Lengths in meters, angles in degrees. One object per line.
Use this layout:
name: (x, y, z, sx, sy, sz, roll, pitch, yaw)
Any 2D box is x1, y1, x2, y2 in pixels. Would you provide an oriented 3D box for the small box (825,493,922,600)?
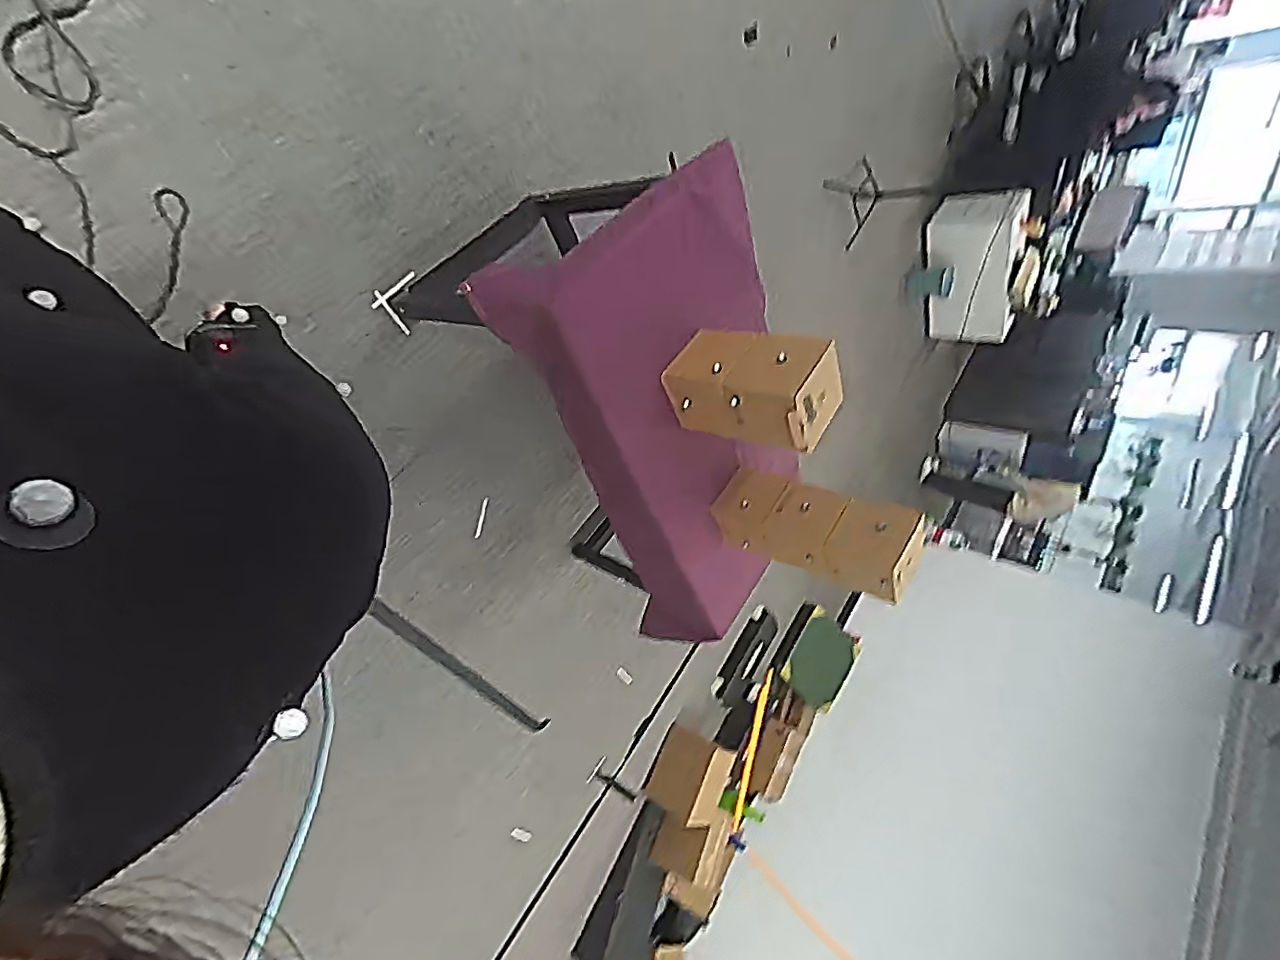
small box: (0.577, 0.157, 1.331, 0.179, 0.176, 0.168, -52, 136, -23)

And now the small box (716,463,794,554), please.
small box: (0.334, 0.077, 1.537, 0.179, 0.176, 0.168, -52, 137, -23)

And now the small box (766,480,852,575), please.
small box: (0.452, 0.118, 1.430, 0.168, 0.176, 0.179, -51, 137, -22)

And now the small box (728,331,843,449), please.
small box: (0.303, -0.195, 1.144, 0.179, 0.176, 0.168, -53, 137, -21)

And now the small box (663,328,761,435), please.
small box: (0.183, -0.234, 1.249, 0.179, 0.176, 0.168, -51, 136, -22)
